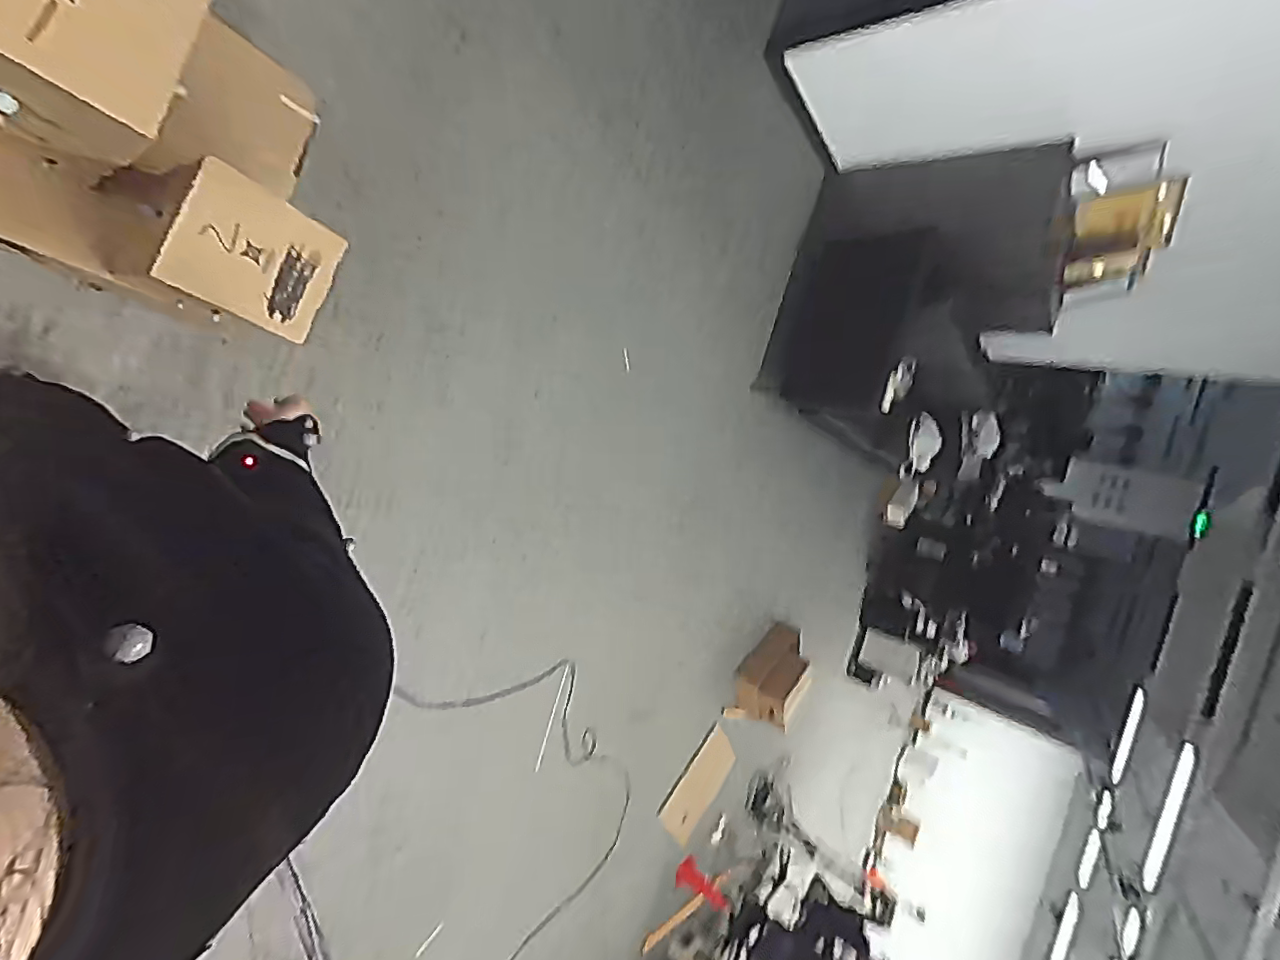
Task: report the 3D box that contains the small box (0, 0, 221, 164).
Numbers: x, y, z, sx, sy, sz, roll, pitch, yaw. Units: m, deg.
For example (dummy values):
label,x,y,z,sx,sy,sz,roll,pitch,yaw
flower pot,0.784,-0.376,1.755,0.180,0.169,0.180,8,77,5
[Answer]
label,x,y,z,sx,sy,sz,roll,pitch,yaw
small box,-0.526,-0.429,0.494,0.168,0.176,0.179,23,85,-51

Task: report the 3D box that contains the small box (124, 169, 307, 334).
label,x,y,z,sx,sy,sz,roll,pitch,yaw
small box,-0.674,-0.350,0.857,0.168,0.176,0.179,25,81,-51

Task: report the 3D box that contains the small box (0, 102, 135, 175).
label,x,y,z,sx,sy,sz,roll,pitch,yaw
small box,-0.645,-0.475,0.597,0.168,0.176,0.179,21,86,-51

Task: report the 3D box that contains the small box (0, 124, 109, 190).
label,x,y,z,sx,sy,sz,roll,pitch,yaw
small box,-0.770,-0.507,0.697,0.168,0.176,0.179,23,83,-51
